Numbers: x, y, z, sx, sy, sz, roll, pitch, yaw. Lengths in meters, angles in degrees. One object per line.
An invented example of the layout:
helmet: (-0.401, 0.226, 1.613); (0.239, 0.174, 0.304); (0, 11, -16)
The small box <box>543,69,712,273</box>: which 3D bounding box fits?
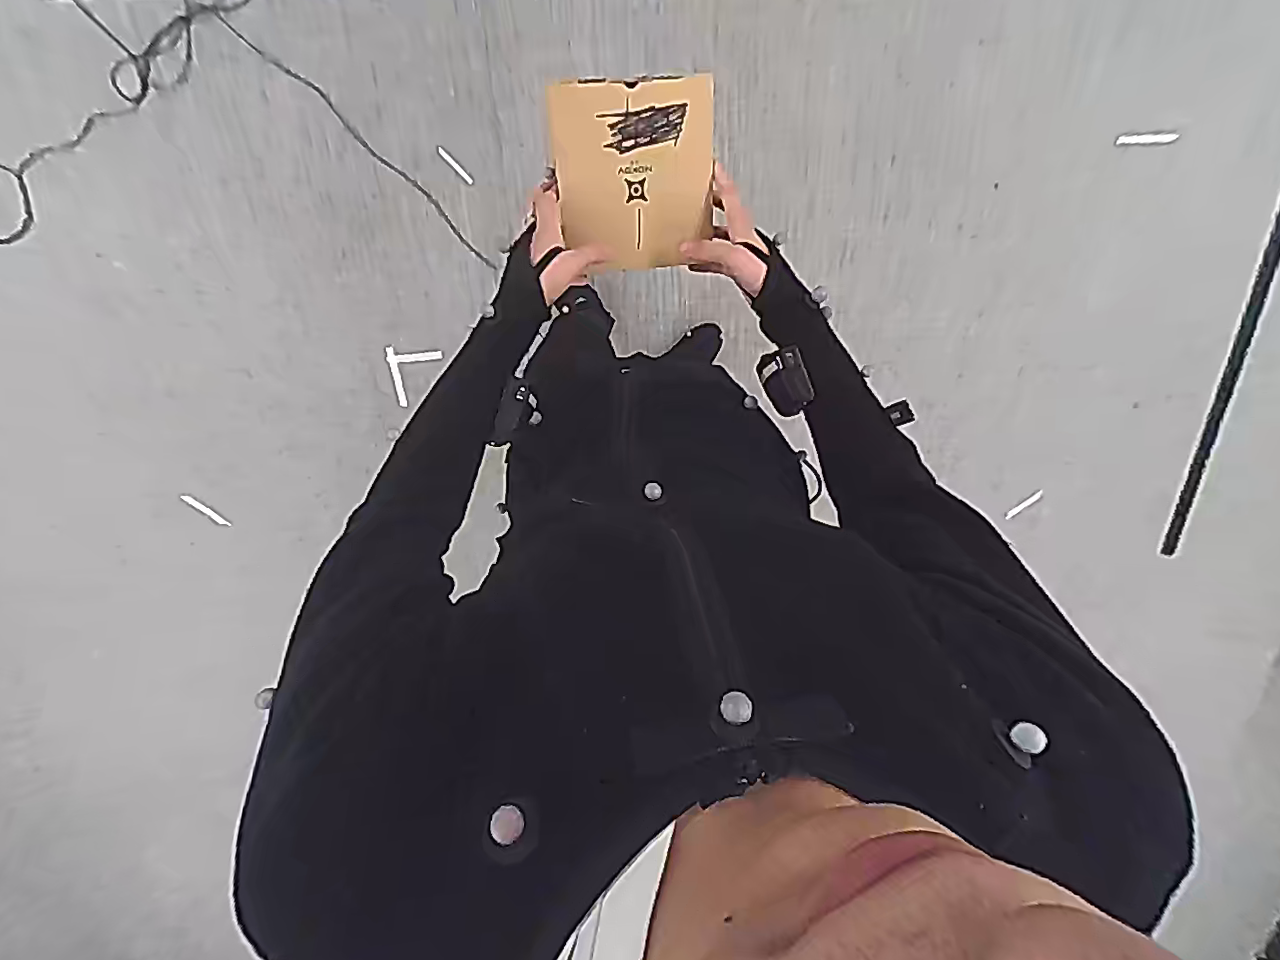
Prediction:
small box: (-0.019, -0.346, 0.621); (0.168, 0.176, 0.179); (-8, 119, -6)
